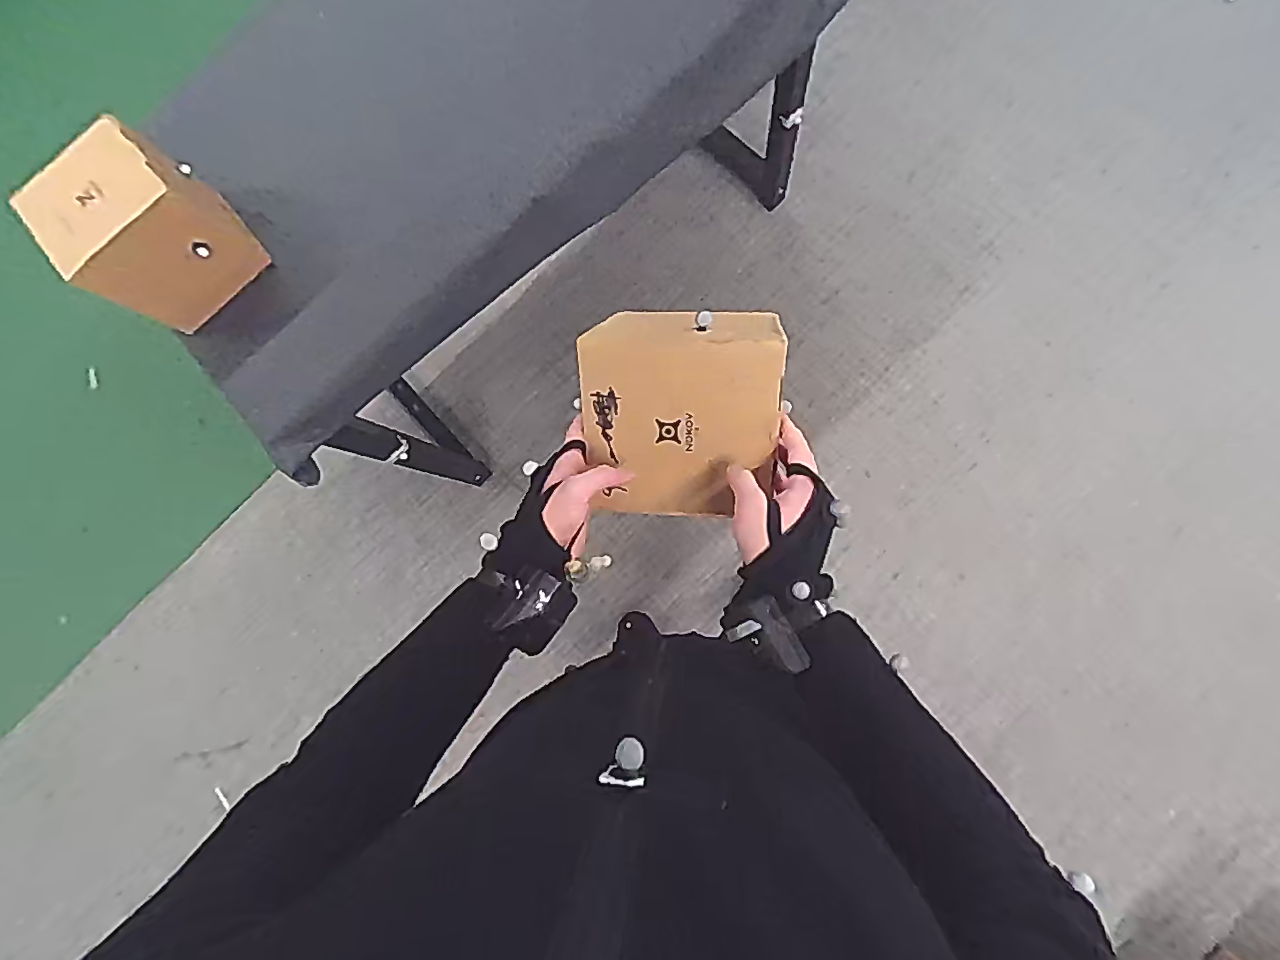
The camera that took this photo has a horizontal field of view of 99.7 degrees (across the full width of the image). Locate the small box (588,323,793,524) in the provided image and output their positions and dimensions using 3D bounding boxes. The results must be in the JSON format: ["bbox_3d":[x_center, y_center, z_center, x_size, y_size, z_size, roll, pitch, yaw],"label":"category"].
[{"bbox_3d":[0.051,-0.068,0.559,0.179,0.176,0.168,3,113,7],"label":"small box"}]

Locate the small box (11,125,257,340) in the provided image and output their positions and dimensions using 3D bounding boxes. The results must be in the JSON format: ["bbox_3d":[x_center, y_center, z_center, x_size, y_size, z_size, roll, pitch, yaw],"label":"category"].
[{"bbox_3d":[-0.692,-0.336,0.765,0.179,0.176,0.168,-40,77,0],"label":"small box"}]
